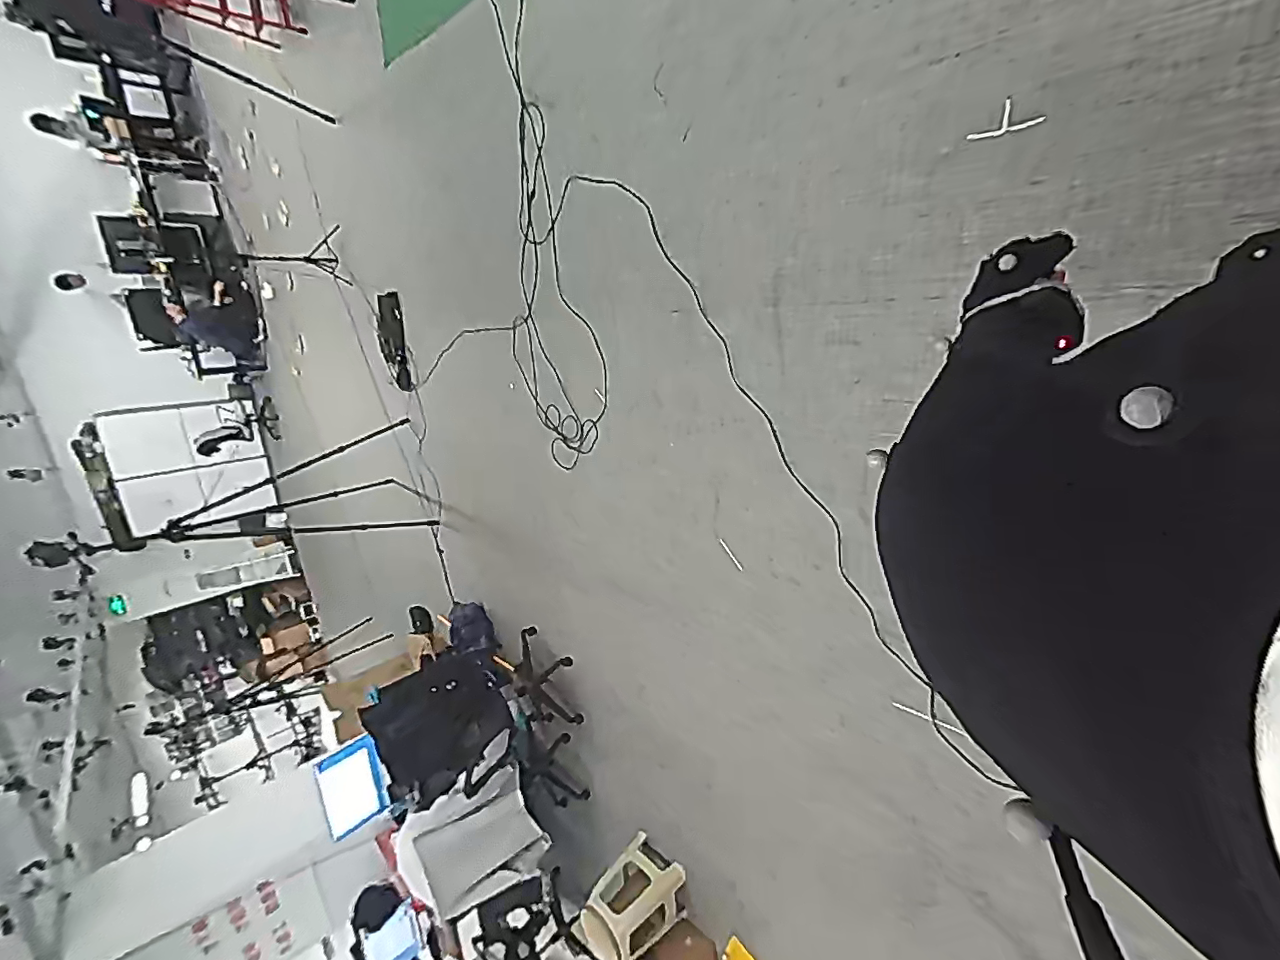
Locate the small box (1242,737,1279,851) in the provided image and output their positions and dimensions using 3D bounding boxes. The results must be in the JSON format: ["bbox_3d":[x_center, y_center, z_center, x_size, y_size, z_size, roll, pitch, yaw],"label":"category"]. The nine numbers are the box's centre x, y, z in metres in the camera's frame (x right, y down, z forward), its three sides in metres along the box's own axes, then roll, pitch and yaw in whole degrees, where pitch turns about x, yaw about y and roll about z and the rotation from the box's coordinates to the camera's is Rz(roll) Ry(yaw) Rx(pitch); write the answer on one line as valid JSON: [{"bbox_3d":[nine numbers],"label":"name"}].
[{"bbox_3d":[1.279,0.632,1.014,0.168,0.176,0.179,18,116,42],"label":"small box"}]
